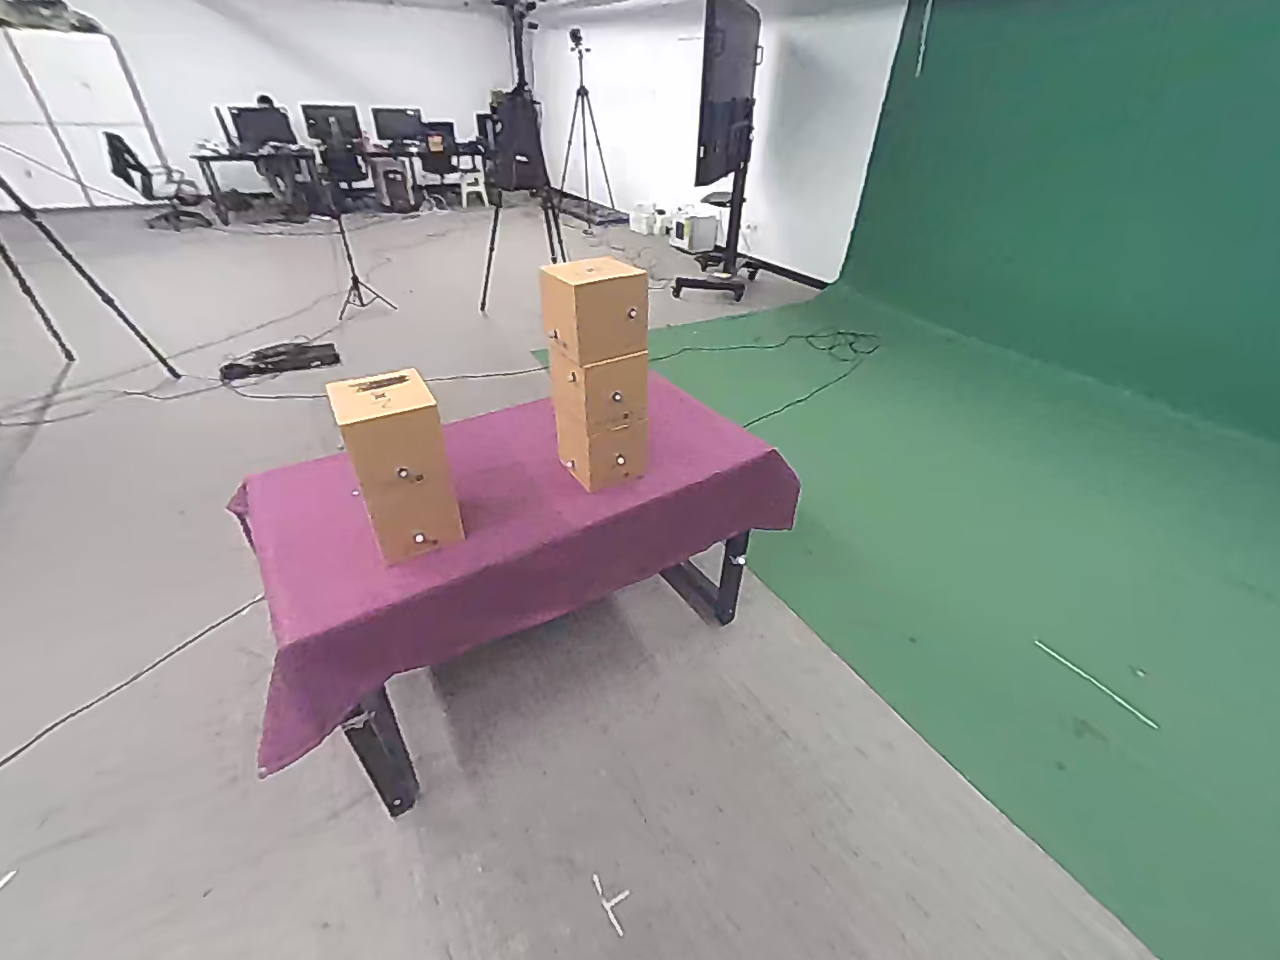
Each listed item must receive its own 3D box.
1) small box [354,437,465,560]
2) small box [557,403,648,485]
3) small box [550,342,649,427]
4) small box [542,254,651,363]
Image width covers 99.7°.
[{"bbox_3d":[-0.484,0.037,1.139,0.168,0.176,0.179,-19,42,-26],"label":"small box"},{"bbox_3d":[-0.094,-0.105,1.353,0.168,0.176,0.179,-20,42,-27],"label":"small box"},{"bbox_3d":[-0.093,-0.237,1.253,0.168,0.176,0.179,-20,41,-27],"label":"small box"},{"bbox_3d":[-0.094,-0.370,1.158,0.179,0.176,0.168,-21,41,-27],"label":"small box"}]
